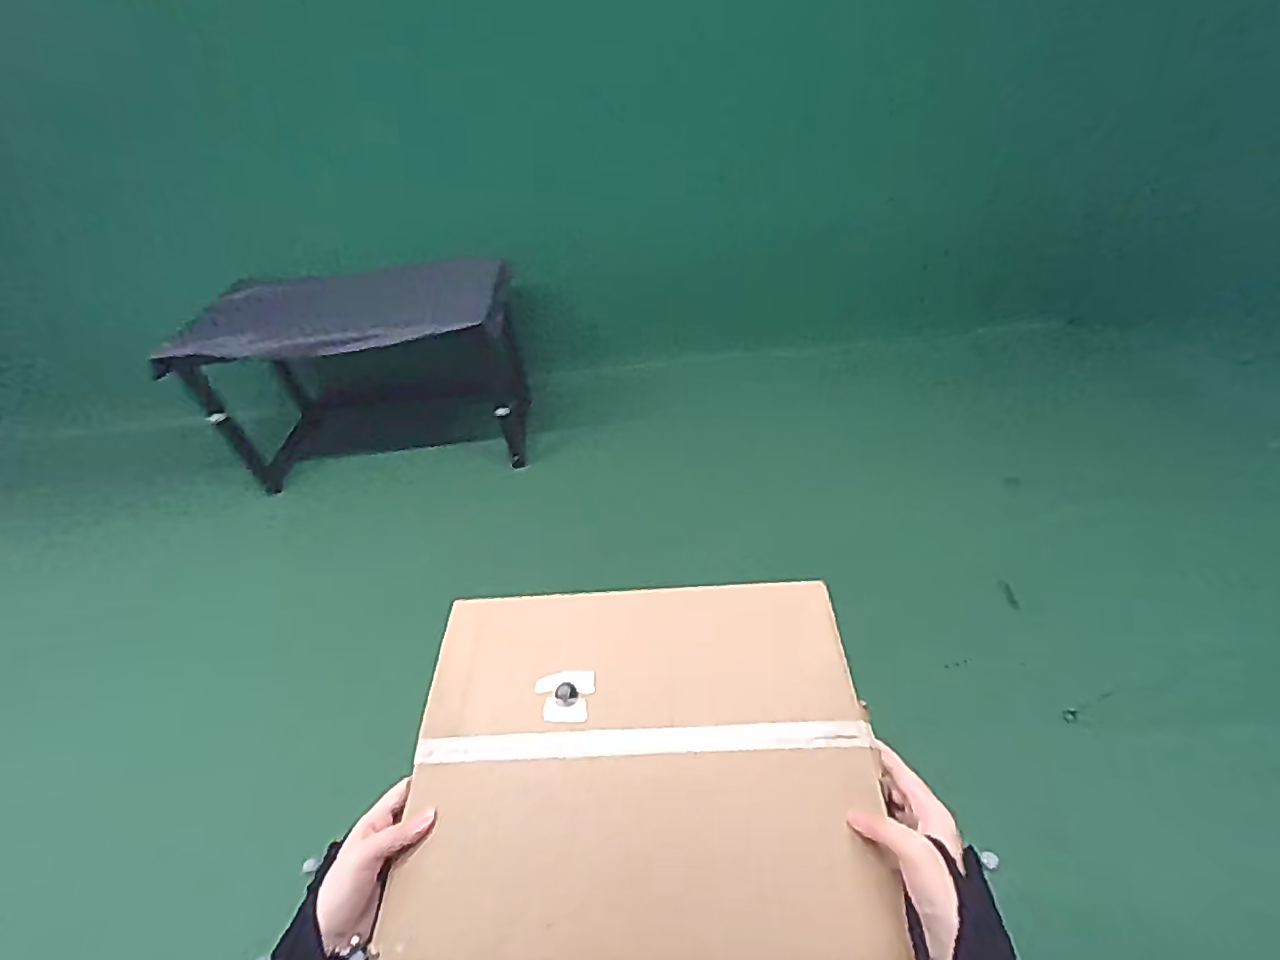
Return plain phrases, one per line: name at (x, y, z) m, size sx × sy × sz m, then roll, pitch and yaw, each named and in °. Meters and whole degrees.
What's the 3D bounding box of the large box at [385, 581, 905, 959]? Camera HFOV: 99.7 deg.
large box at (0.014, 0.339, 0.612) m, size 0.408 × 0.320 × 0.320 m, roll -5°, pitch 48°, yaw 5°
